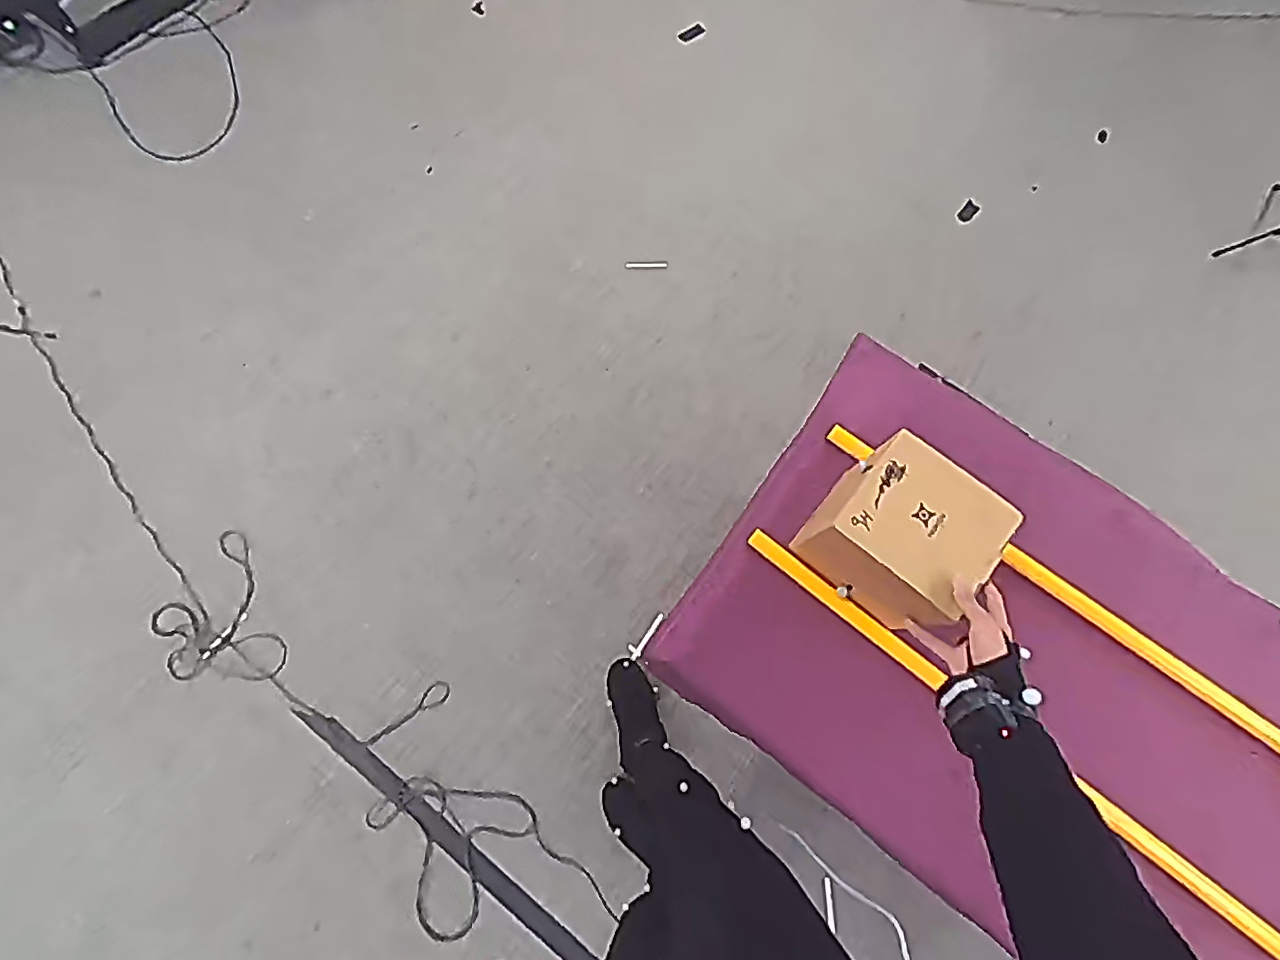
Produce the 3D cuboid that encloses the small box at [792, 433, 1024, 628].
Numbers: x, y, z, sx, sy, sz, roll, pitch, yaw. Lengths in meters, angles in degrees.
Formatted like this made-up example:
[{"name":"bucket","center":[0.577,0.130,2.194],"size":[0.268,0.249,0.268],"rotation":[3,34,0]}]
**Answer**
[{"name":"small box","center":[0.335,0.074,0.709],"size":[0.179,0.176,0.168],"rotation":[40,75,8]}]
